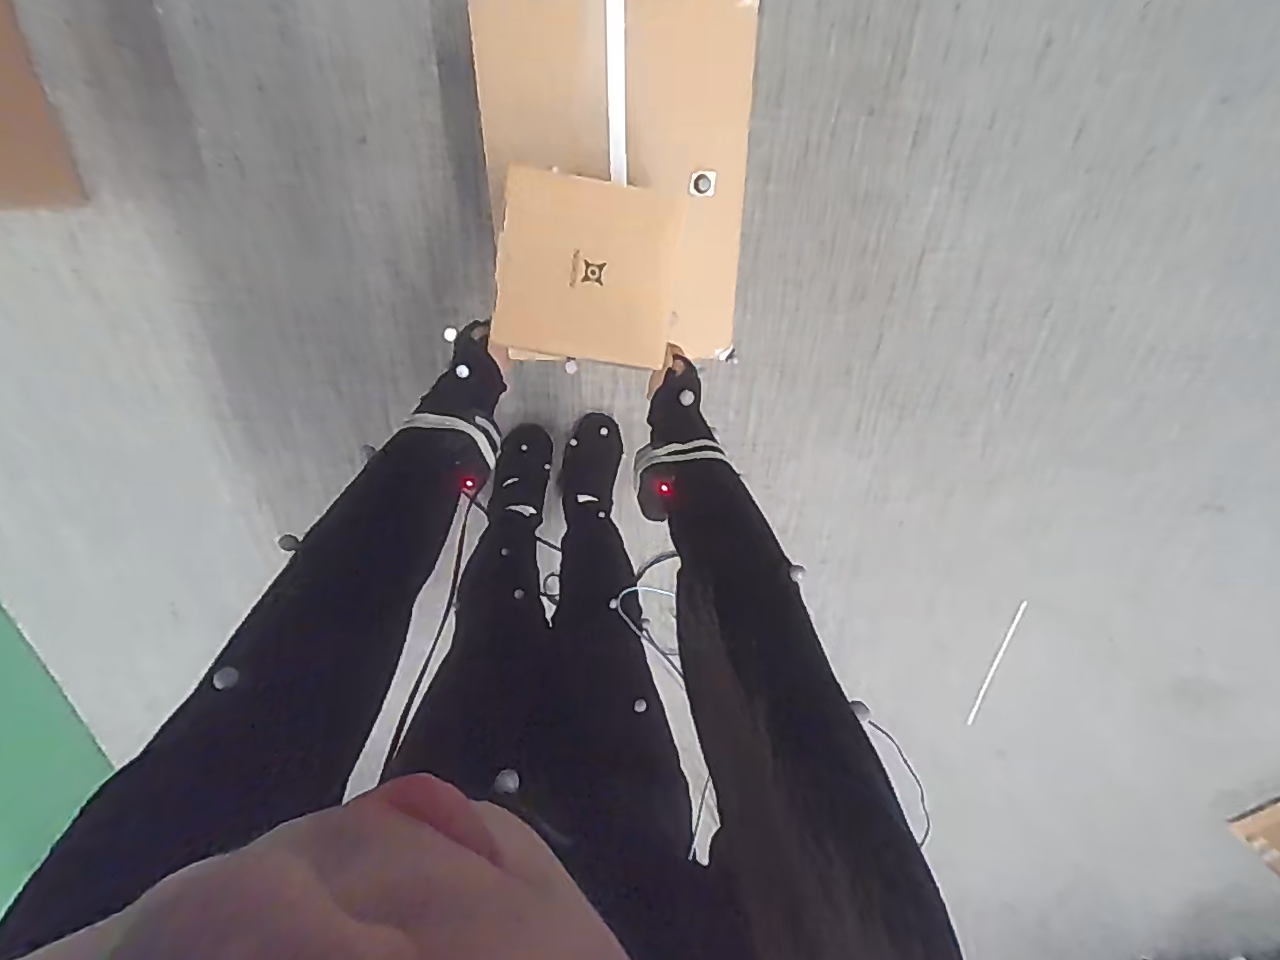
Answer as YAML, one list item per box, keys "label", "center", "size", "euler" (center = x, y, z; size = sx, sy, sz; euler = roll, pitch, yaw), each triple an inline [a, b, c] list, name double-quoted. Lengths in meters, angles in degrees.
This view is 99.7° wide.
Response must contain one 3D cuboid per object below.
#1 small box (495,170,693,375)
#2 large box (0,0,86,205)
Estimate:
- label: "small box"
  center: [-0.051, -0.217, 0.604]
  size: [0.179, 0.176, 0.168]
  euler: [8, 103, -5]
- label: "large box"
  center: [-1.040, -0.555, 0.654]
  size: [0.320, 0.320, 0.408]
  euler: [0, 118, -3]
